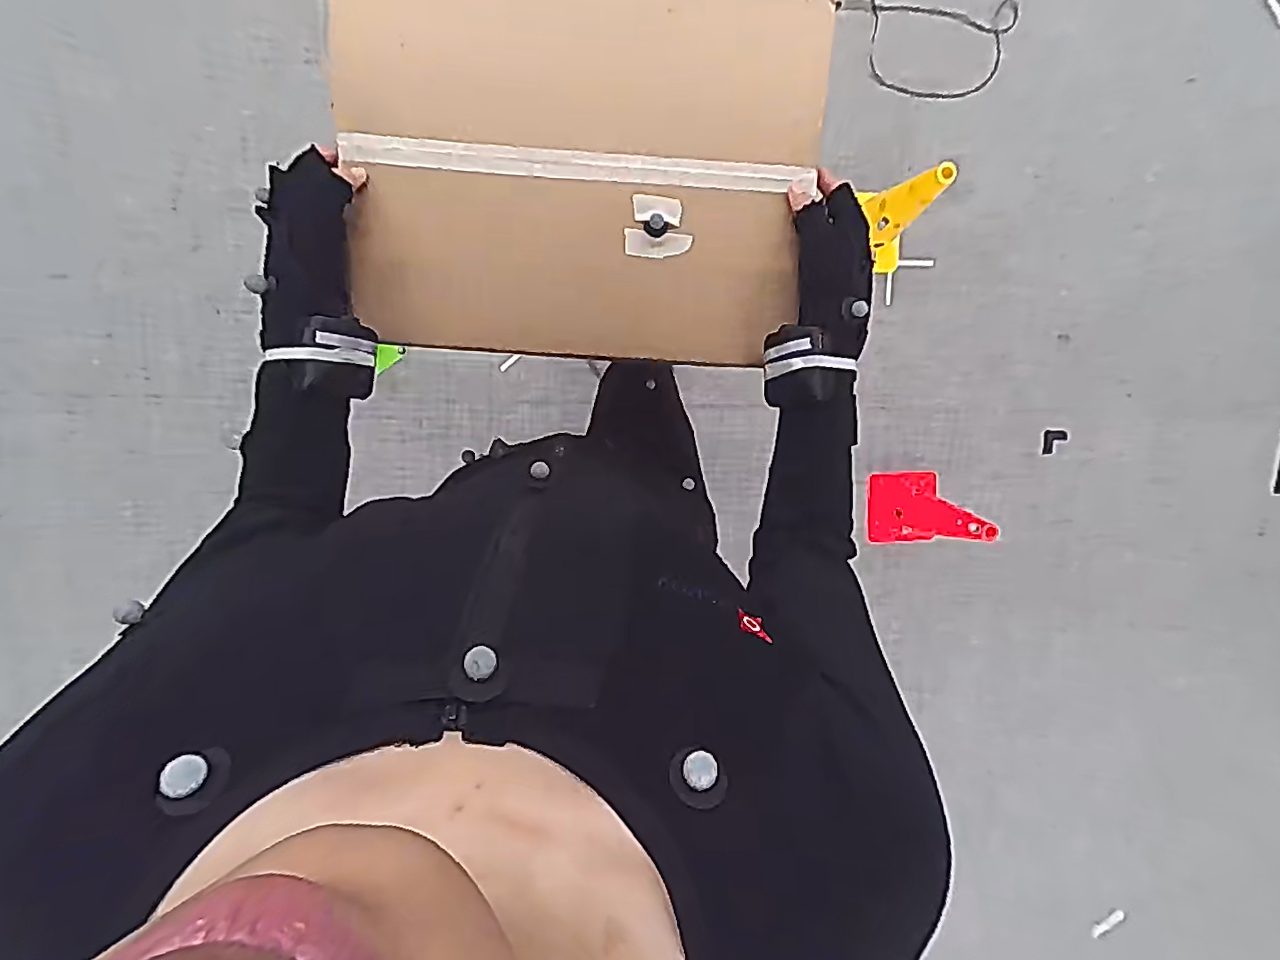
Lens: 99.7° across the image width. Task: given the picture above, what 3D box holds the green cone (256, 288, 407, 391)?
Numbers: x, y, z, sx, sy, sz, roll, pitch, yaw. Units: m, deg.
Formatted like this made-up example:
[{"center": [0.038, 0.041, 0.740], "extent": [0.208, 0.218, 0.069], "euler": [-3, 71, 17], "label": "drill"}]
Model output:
[{"center": [-0.716, -0.336, 1.206], "extent": [0.202, 0.368, 0.200], "euler": [-36, 97, 2], "label": "green cone"}]

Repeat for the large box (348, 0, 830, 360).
[{"center": [-0.053, -0.304, 0.614], "extent": [0.408, 0.320, 0.320], "euler": [3, 102, -3], "label": "large box"}]

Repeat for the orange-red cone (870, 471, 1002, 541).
[{"center": [0.755, 0.090, 1.349], "extent": [0.198, 0.360, 0.199], "euler": [-2, 95, -4], "label": "orange-red cone"}]
